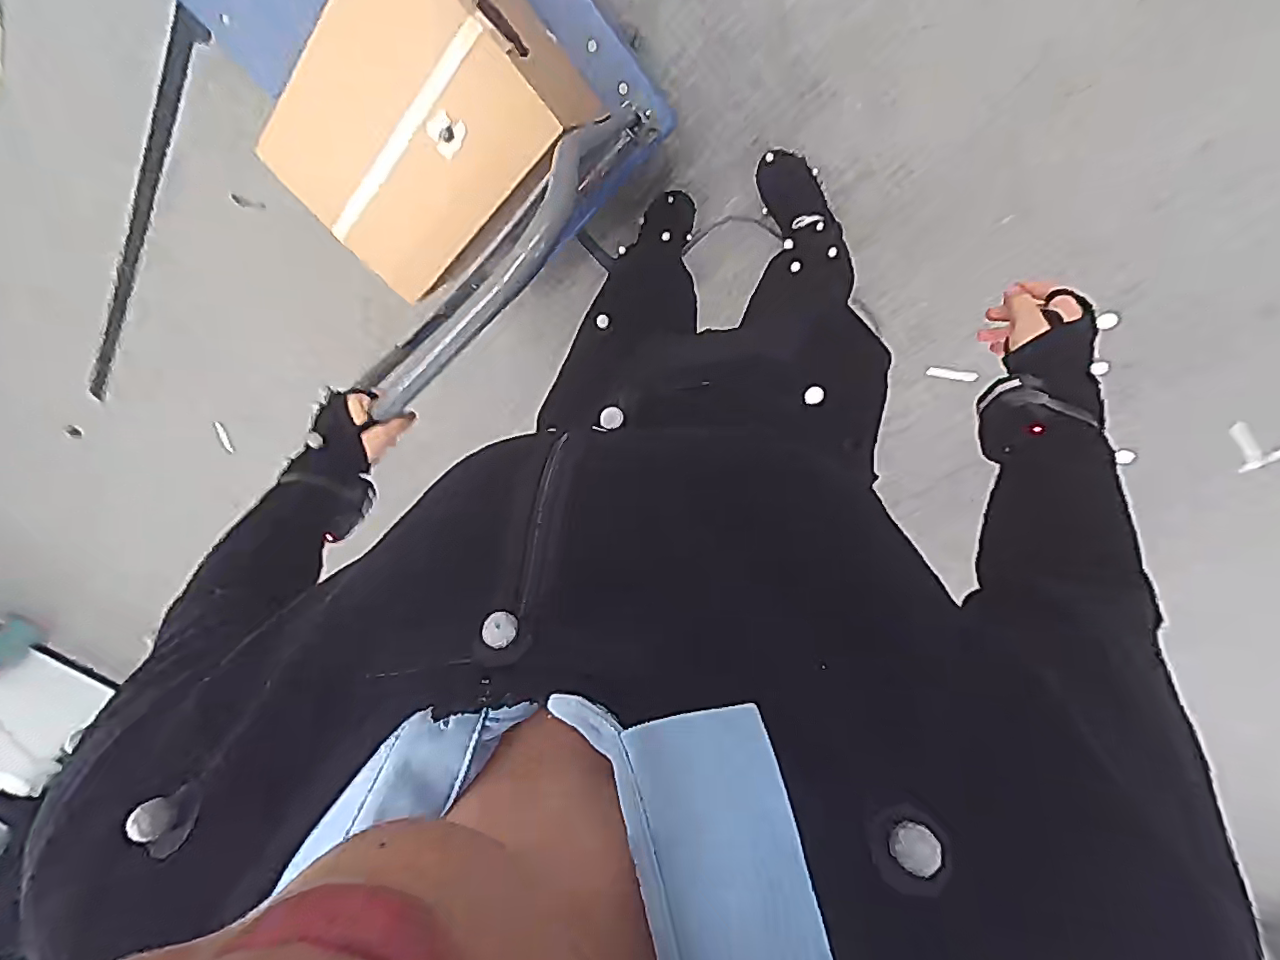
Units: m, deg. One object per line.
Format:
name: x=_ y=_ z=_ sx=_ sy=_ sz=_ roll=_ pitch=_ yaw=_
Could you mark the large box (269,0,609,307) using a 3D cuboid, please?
large box: x=-0.321 y=-0.581 z=0.925 sx=0.408 sy=0.320 sz=0.320 roll=-33 pitch=114 yaw=29
